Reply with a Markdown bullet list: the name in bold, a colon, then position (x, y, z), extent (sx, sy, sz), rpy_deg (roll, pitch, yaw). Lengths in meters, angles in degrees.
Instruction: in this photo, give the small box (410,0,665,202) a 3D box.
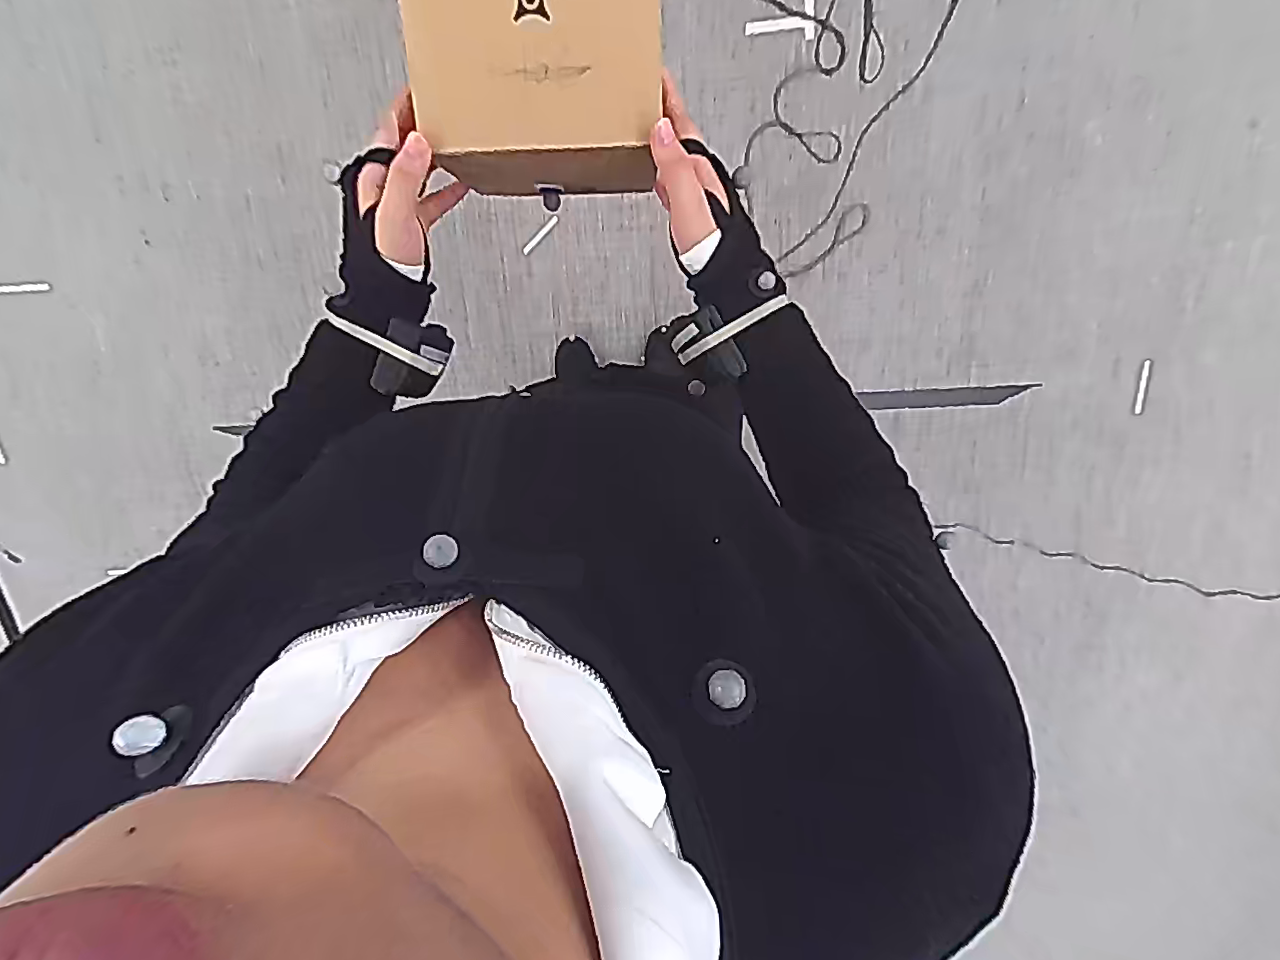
- **small box**: position (-0.068, -0.331, 0.423), extent (0.168, 0.176, 0.179), rpy_deg (-2, 108, 0)
